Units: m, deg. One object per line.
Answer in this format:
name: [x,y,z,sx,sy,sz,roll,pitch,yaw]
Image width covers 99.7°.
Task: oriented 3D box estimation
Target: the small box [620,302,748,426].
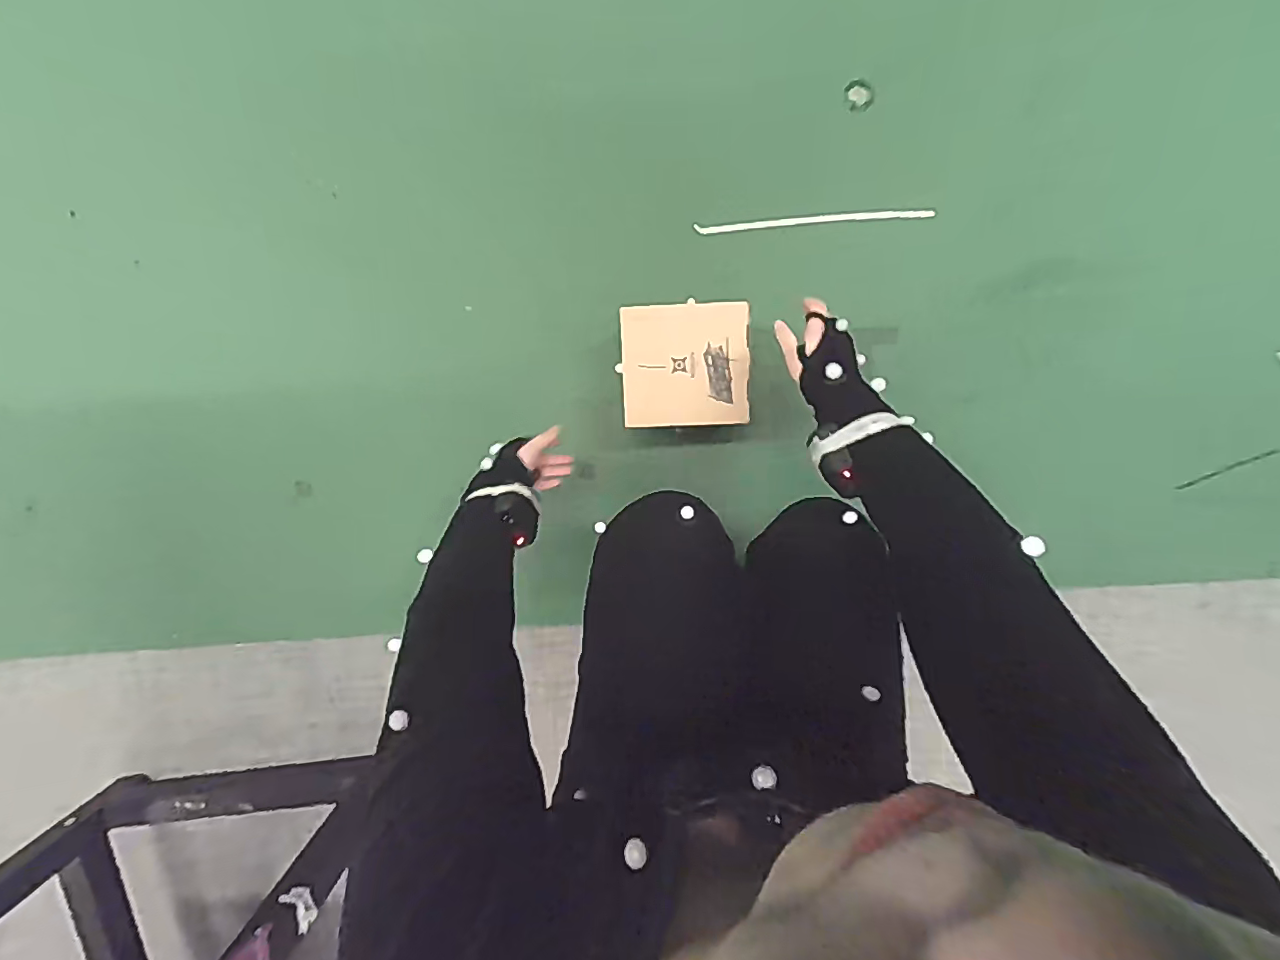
small box: [0.064,-0.171,0.820,0.179,0.176,0.168,-2,99,3]
